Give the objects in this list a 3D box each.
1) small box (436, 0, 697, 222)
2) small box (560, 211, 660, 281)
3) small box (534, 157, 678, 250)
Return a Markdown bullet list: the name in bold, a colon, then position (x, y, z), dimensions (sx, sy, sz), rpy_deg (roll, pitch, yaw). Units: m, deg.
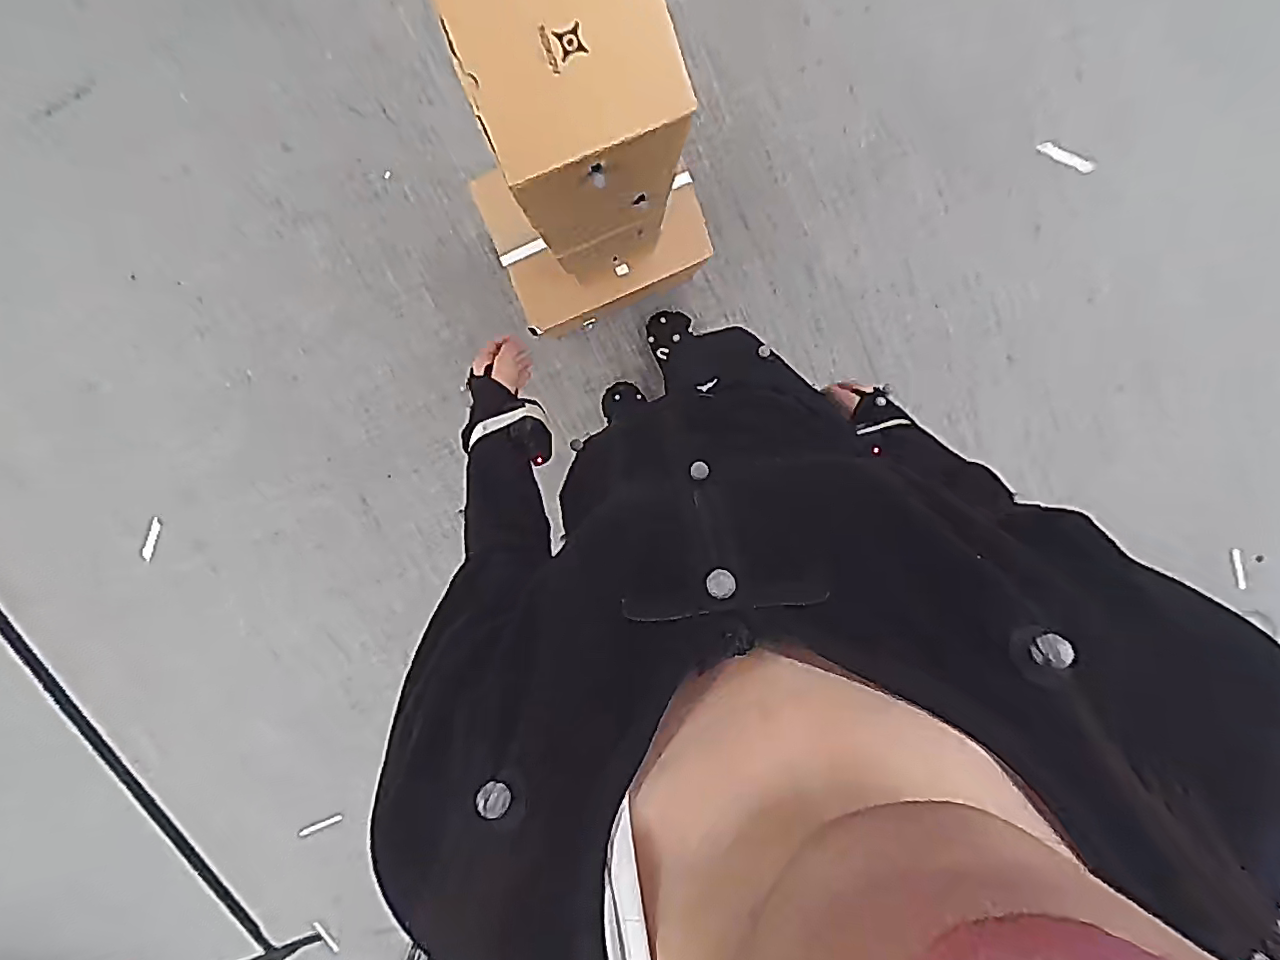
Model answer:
- **small box**: position (-0.063, -0.372, 0.517), dimensions (0.179, 0.176, 0.168), rpy_deg (-21, 104, 3)
- **small box**: position (-0.077, -0.484, 0.994), dimensions (0.179, 0.176, 0.168), rpy_deg (-25, 104, 3)
- **small box**: position (-0.068, -0.409, 0.674), dimensions (0.179, 0.176, 0.168), rpy_deg (-21, 103, 3)
